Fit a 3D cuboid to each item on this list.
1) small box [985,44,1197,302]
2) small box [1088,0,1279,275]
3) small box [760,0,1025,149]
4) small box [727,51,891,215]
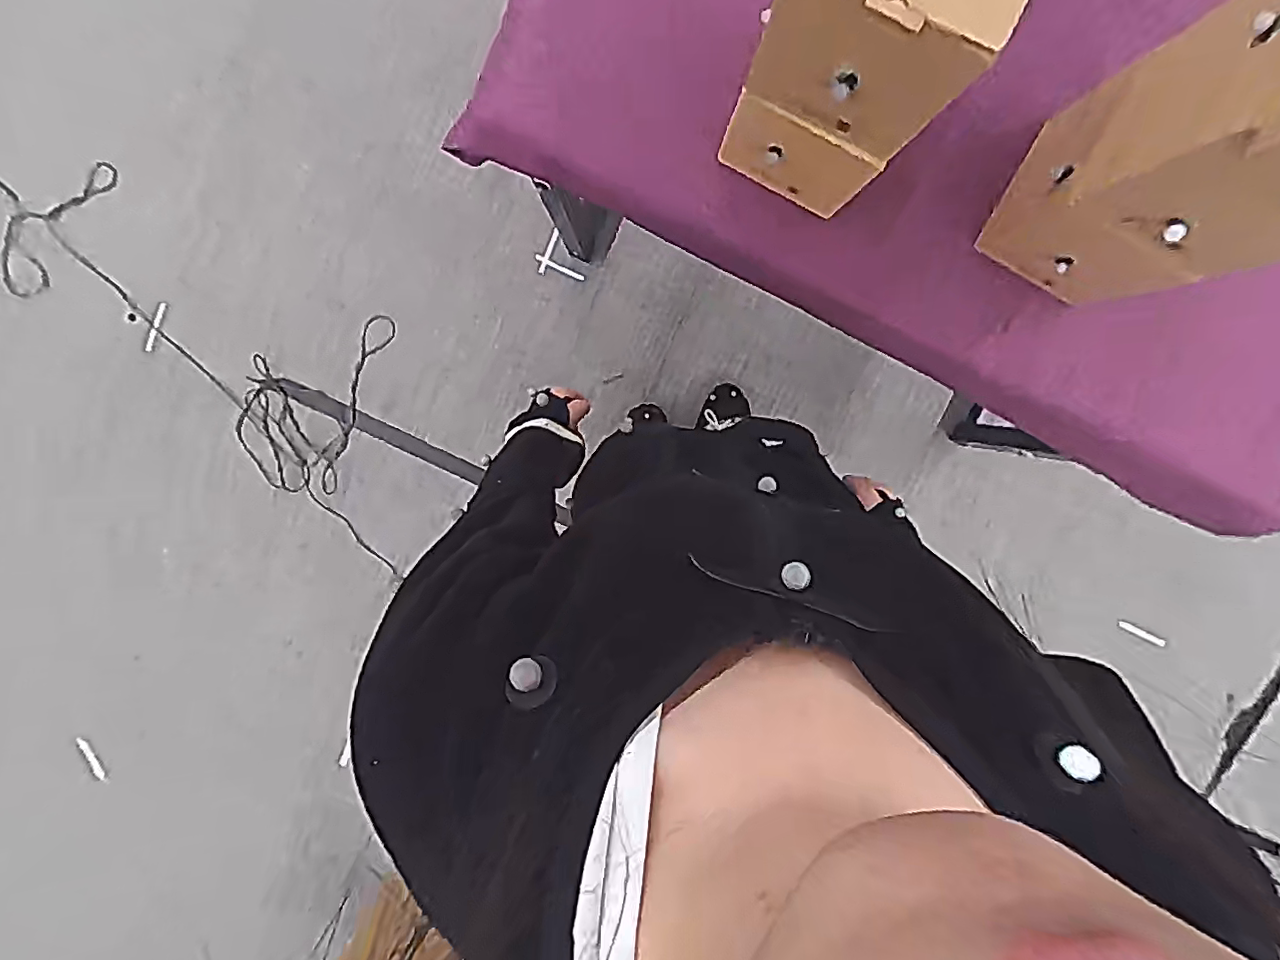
[{"bbox_3d":[0.550,-0.332,0.631,0.168,0.176,0.179,28,97,-5],"label":"small box"},{"bbox_3d":[0.556,-0.308,0.468,0.168,0.176,0.179,28,98,-4],"label":"small box"},{"bbox_3d":[0.215,-0.421,0.450,0.168,0.176,0.179,23,97,-4],"label":"small box"},{"bbox_3d":[0.212,-0.438,0.613,0.168,0.176,0.179,26,97,-4],"label":"small box"}]
